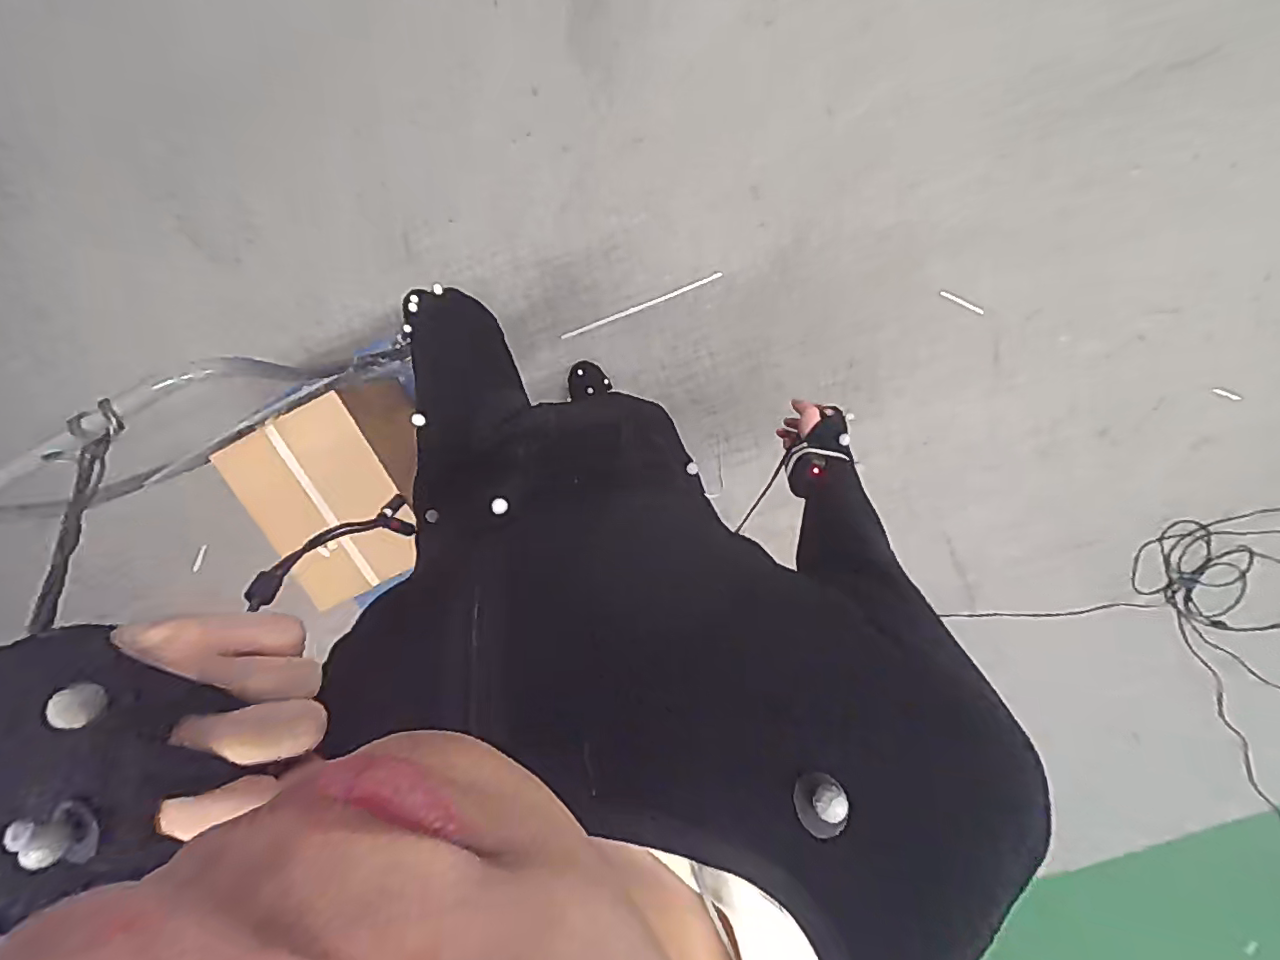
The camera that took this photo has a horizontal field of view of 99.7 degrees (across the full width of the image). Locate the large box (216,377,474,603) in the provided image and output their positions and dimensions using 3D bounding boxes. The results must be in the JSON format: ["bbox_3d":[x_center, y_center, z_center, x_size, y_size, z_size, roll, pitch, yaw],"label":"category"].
[{"bbox_3d":[-0.664,0.006,1.297,0.320,0.320,0.408,-25,104,5],"label":"large box"}]
